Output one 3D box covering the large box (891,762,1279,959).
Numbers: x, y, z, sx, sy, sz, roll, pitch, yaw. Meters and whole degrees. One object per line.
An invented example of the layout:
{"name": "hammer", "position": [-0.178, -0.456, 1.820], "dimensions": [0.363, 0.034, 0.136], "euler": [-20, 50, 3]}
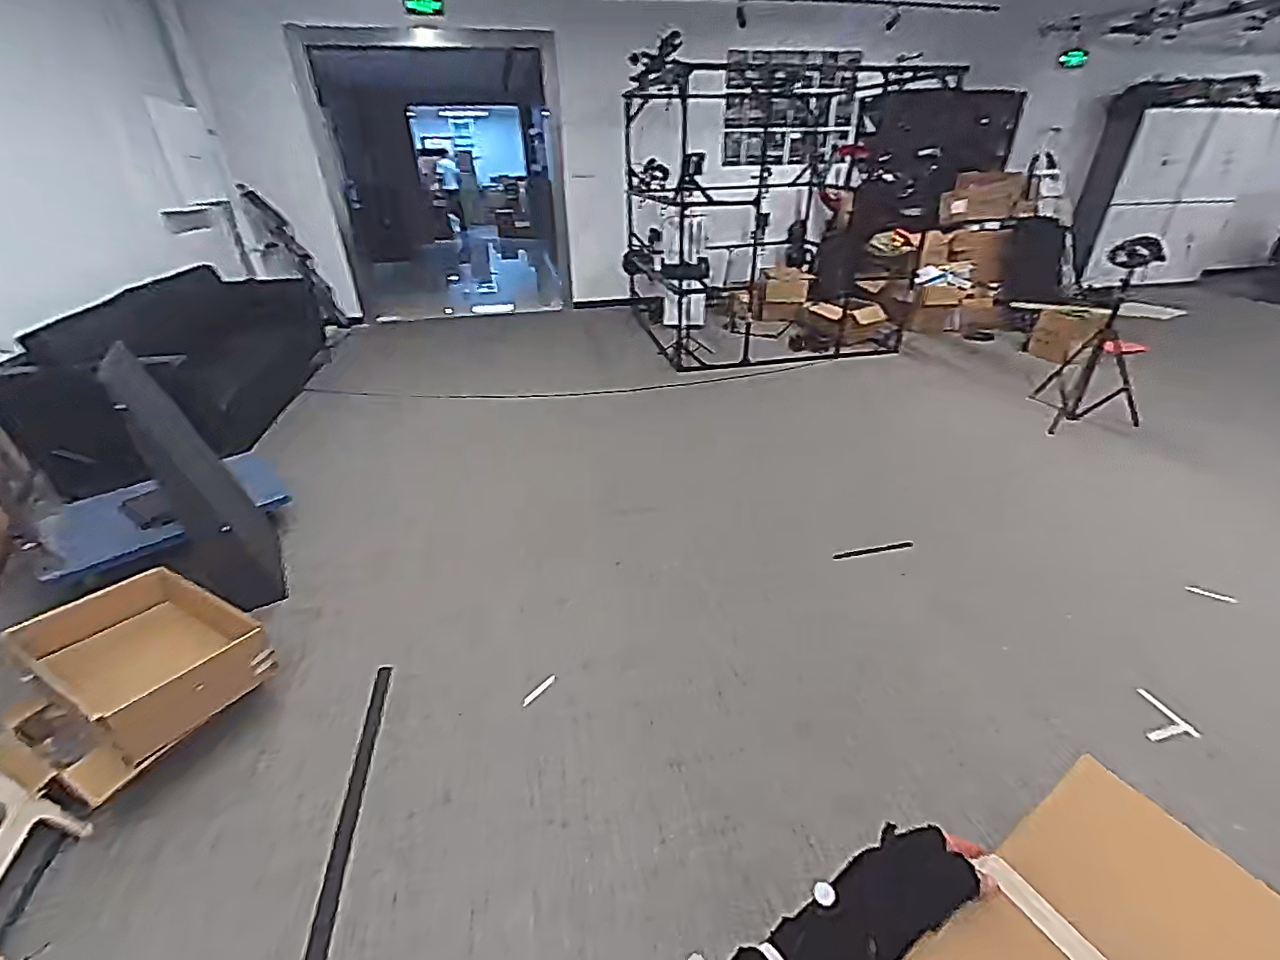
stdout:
{"name": "large box", "position": [0.405, 0.531, 0.409], "dimensions": [0.320, 0.320, 0.408], "euler": [-25, 41, -23]}
